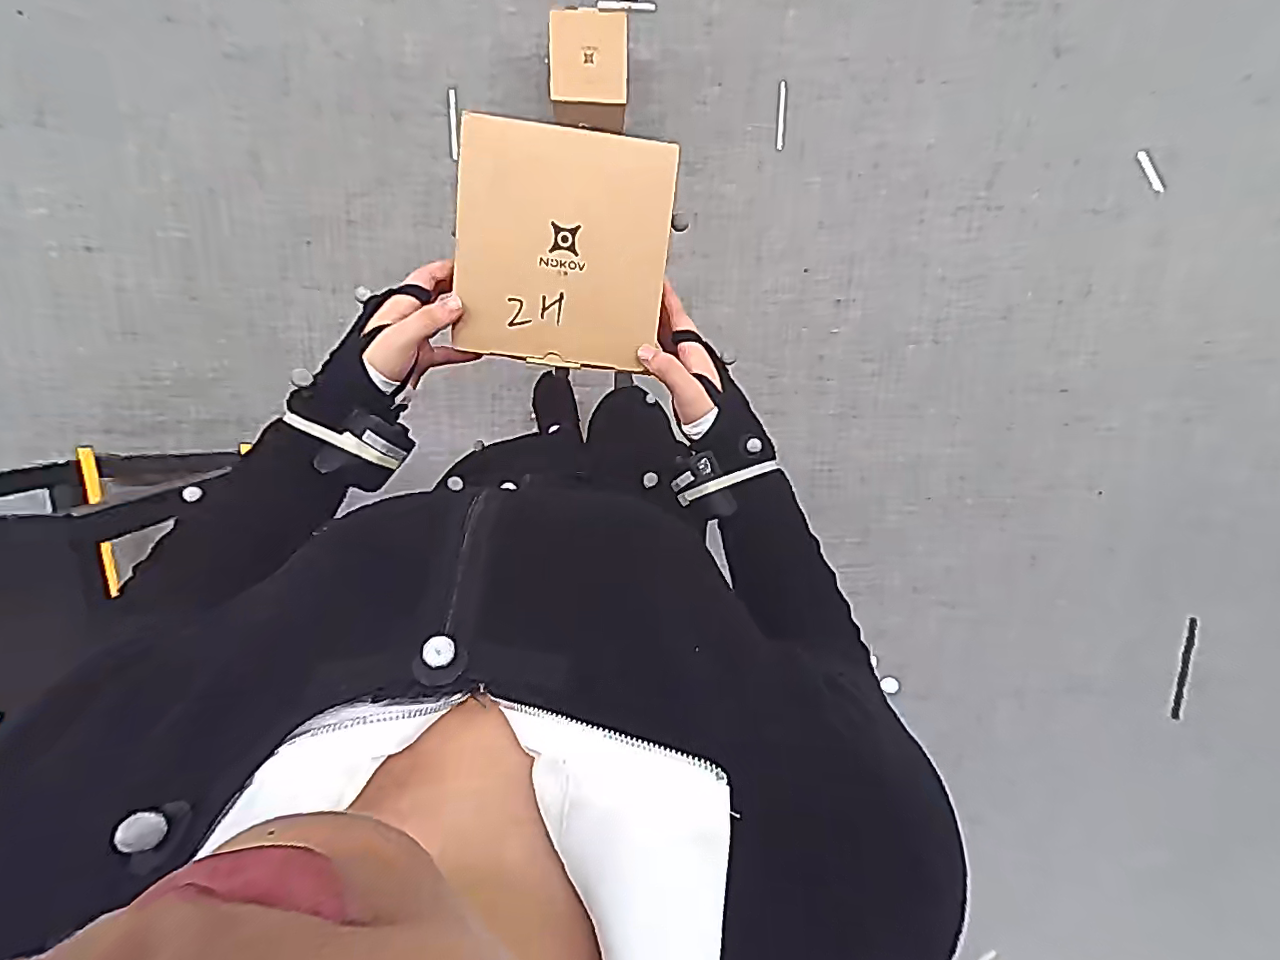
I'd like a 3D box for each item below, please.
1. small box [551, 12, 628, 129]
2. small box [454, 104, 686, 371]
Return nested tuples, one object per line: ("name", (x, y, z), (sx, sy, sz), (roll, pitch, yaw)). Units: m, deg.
("small box", (-0.113, -0.906, 1.225), (0.168, 0.176, 0.179), (0, 103, -3))
("small box", (-0.061, -0.200, 0.497), (0.168, 0.176, 0.179), (7, 103, -4))
